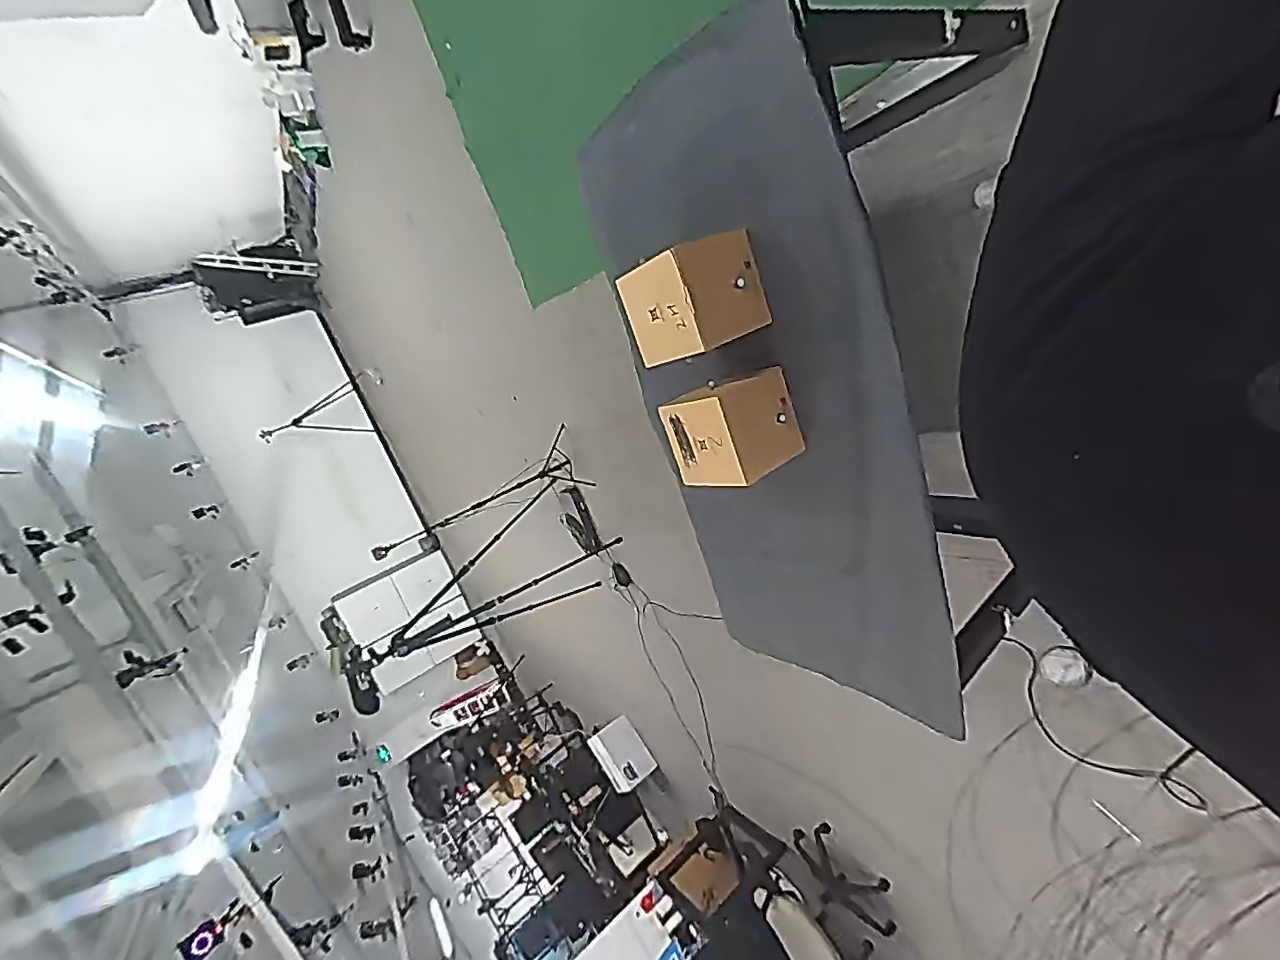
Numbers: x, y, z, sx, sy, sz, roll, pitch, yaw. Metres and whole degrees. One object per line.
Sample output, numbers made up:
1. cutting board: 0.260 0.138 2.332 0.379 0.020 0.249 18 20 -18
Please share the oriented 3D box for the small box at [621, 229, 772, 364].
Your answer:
1. small box: 0.099 -0.318 0.952 0.179 0.176 0.168 2 116 57
